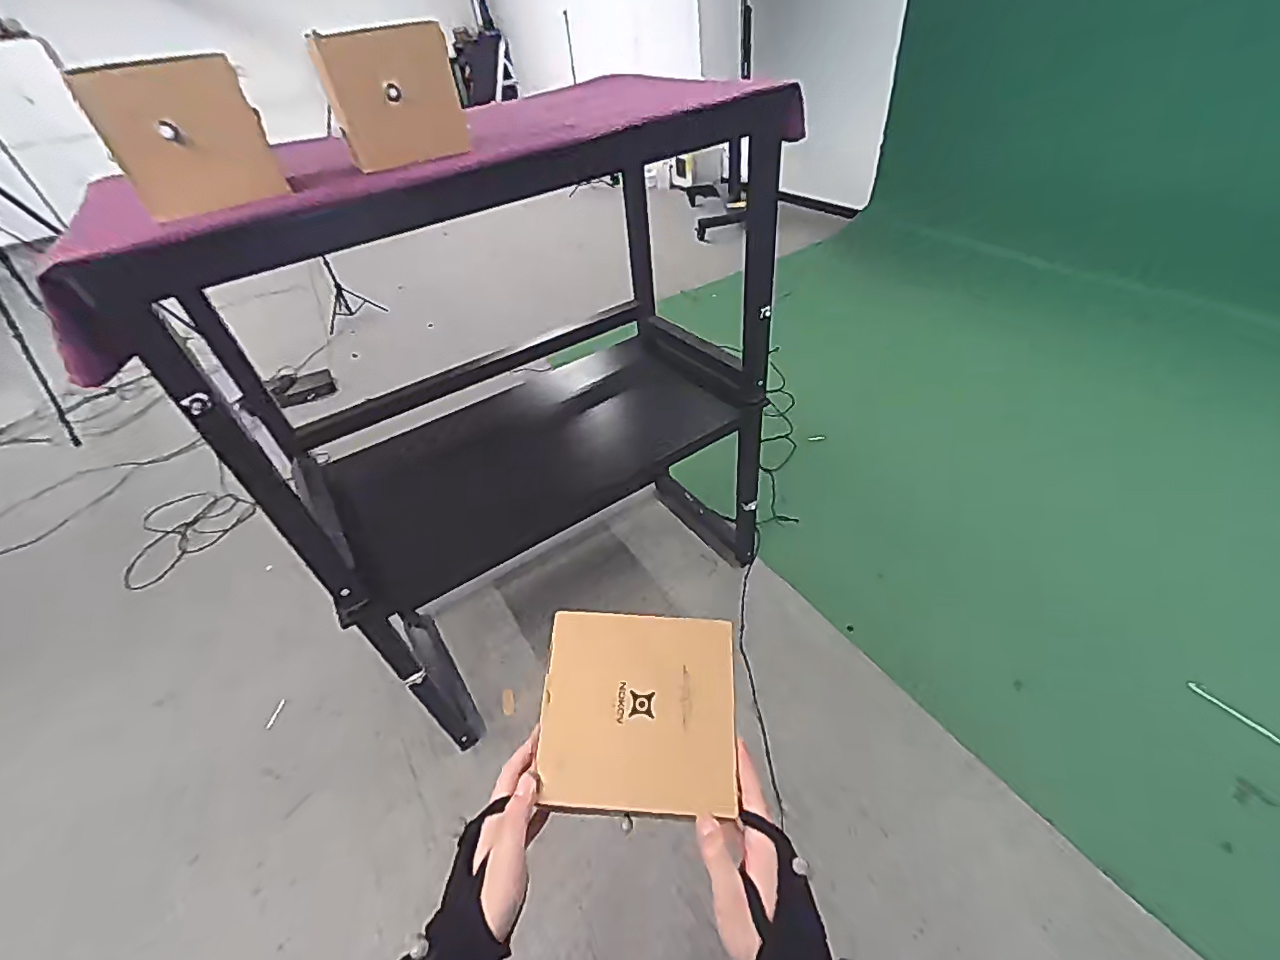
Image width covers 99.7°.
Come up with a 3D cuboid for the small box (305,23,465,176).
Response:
[{"bbox_3d":[-0.395,-0.604,0.858,0.179,0.176,0.168,-25,44,-18],"label":"small box"}]

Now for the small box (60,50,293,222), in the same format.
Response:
[{"bbox_3d":[-0.624,-0.479,0.753,0.179,0.176,0.168,-26,46,-19],"label":"small box"}]
